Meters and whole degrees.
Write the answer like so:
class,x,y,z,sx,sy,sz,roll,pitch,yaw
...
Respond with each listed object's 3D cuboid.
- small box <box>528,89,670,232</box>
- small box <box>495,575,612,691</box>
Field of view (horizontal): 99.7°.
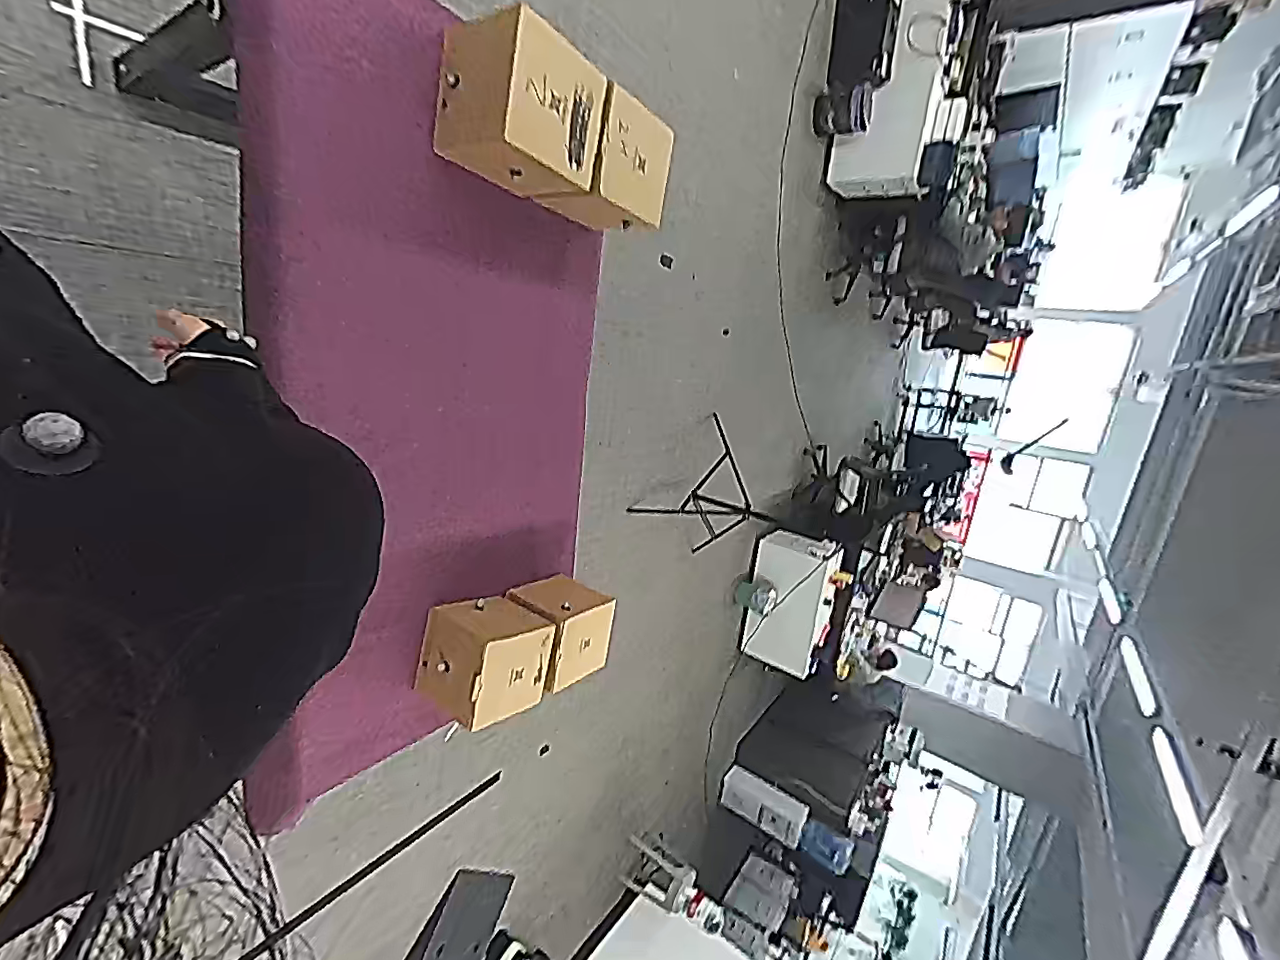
class,x,y,z,sx,sy,sz,roll,pitch,yaw
small box,-0.074,-0.561,0.973,0.179,0.176,0.168,-5,108,-54
small box,-0.189,0.324,1.189,0.179,0.176,0.168,-6,110,-56
